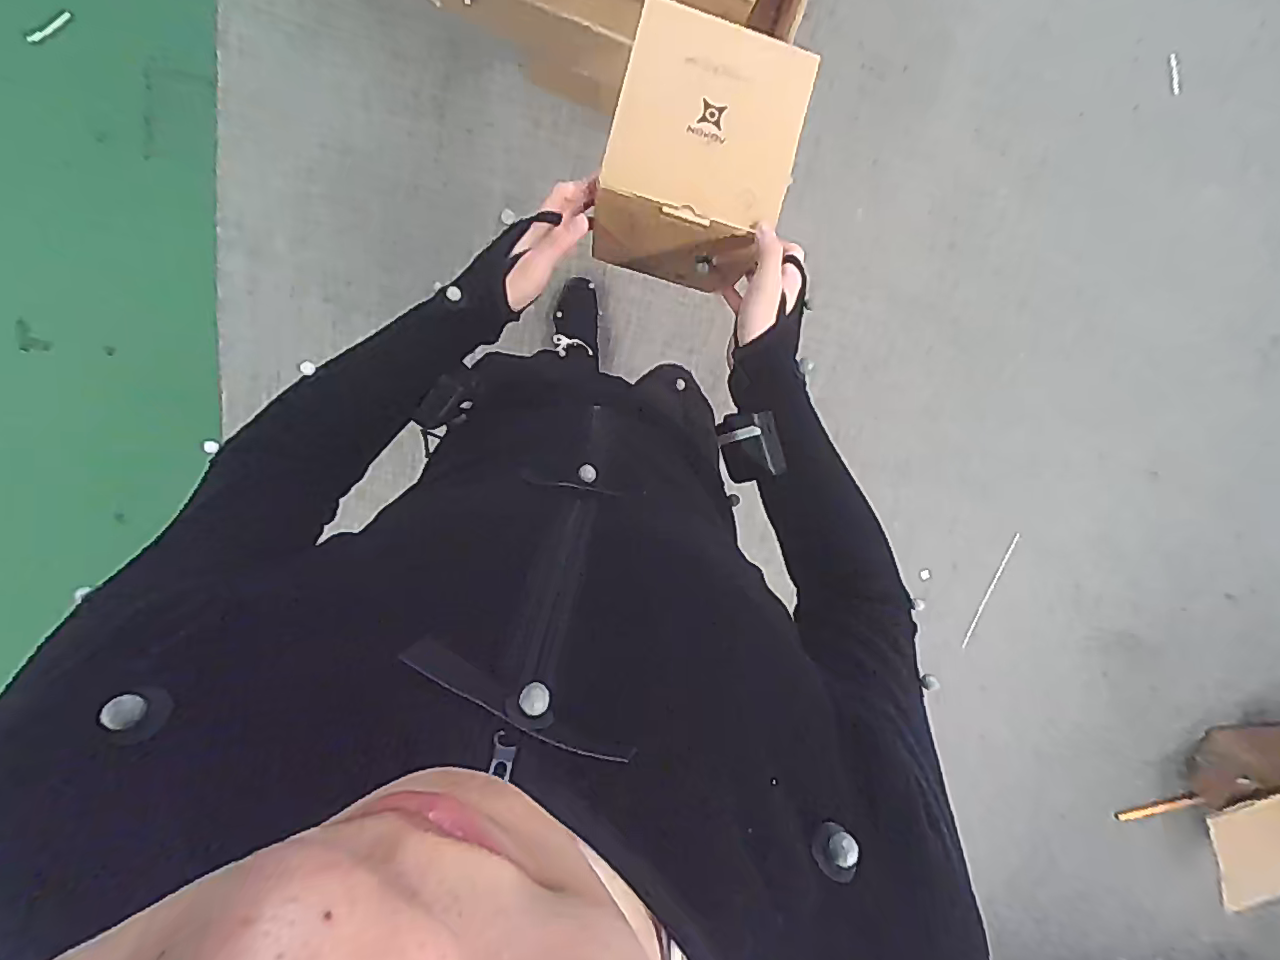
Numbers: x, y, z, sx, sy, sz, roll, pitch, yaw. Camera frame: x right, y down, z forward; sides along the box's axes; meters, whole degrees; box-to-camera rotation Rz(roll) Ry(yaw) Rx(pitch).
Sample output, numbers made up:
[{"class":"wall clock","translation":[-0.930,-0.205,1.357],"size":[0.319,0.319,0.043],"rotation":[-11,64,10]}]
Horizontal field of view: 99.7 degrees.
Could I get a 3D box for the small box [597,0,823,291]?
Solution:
[{"class":"small box","translation":[0.057,-0.320,0.557],"size":[0.168,0.176,0.179],"rotation":[16,89,-7]}]
